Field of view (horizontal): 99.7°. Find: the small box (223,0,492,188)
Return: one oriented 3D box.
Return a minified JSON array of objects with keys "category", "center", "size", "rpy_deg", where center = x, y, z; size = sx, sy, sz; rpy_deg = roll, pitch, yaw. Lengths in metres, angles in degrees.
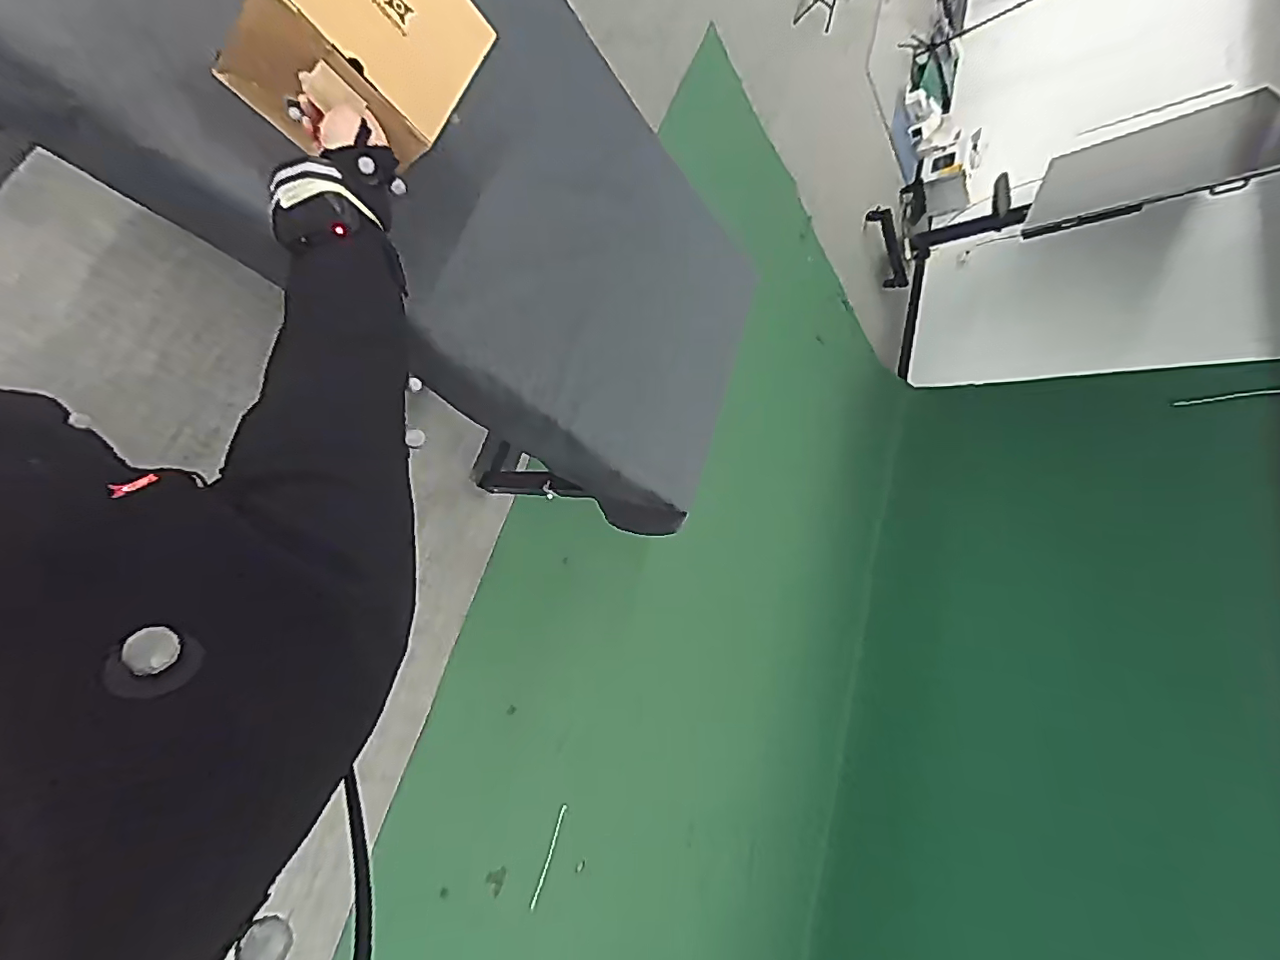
[{"category":"small box","center":[-0.296,-0.455,0.571],"size":[0.168,0.176,0.179],"rpy_deg":[36,65,-44]}]
